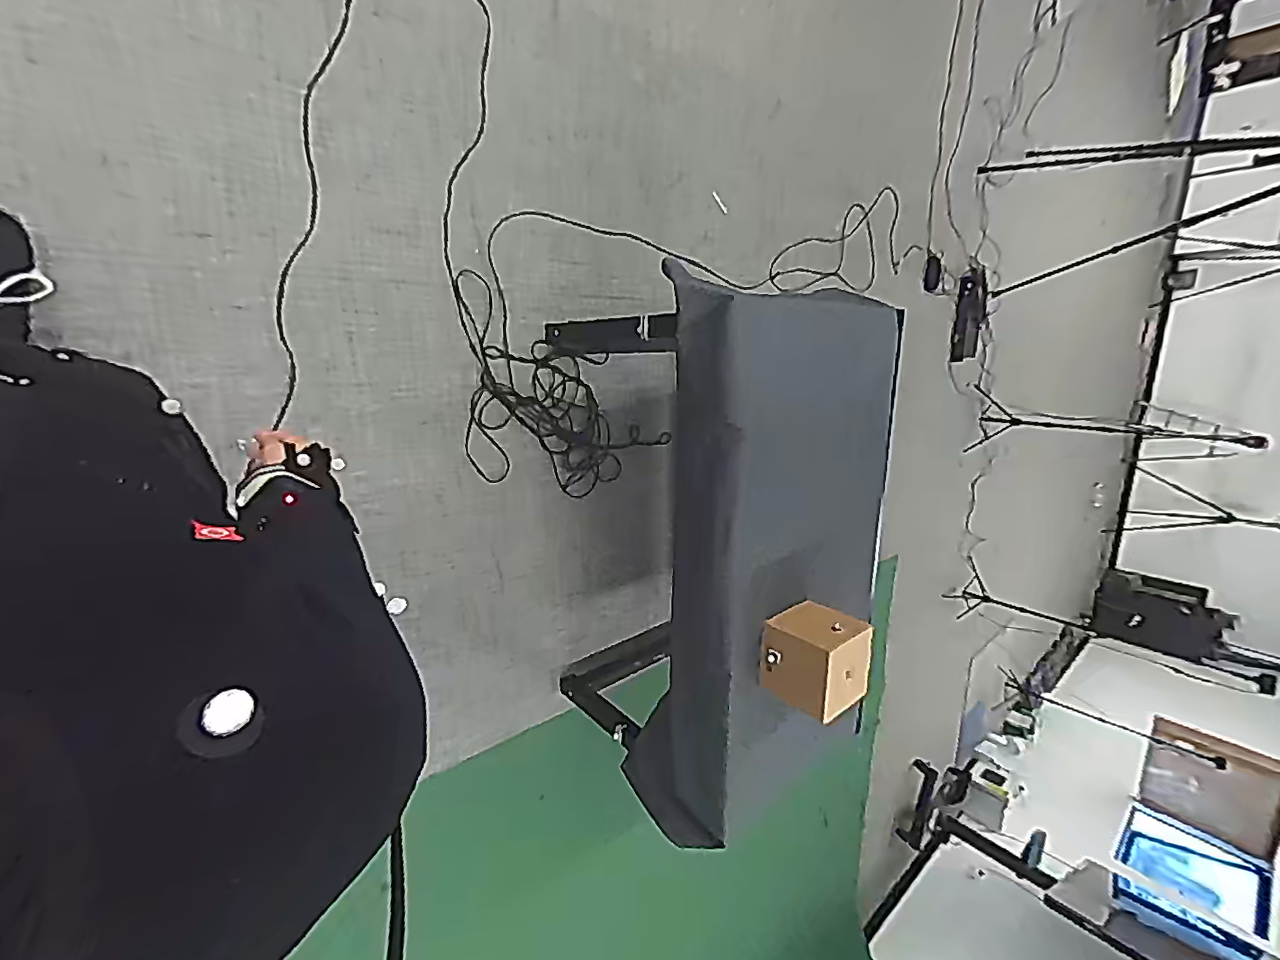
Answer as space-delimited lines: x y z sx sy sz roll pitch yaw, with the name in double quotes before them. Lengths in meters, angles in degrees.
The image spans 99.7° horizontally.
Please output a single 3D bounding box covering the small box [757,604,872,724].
"small box" 0.380 0.390 1.185 0.179 0.176 0.168 -10 106 -38
